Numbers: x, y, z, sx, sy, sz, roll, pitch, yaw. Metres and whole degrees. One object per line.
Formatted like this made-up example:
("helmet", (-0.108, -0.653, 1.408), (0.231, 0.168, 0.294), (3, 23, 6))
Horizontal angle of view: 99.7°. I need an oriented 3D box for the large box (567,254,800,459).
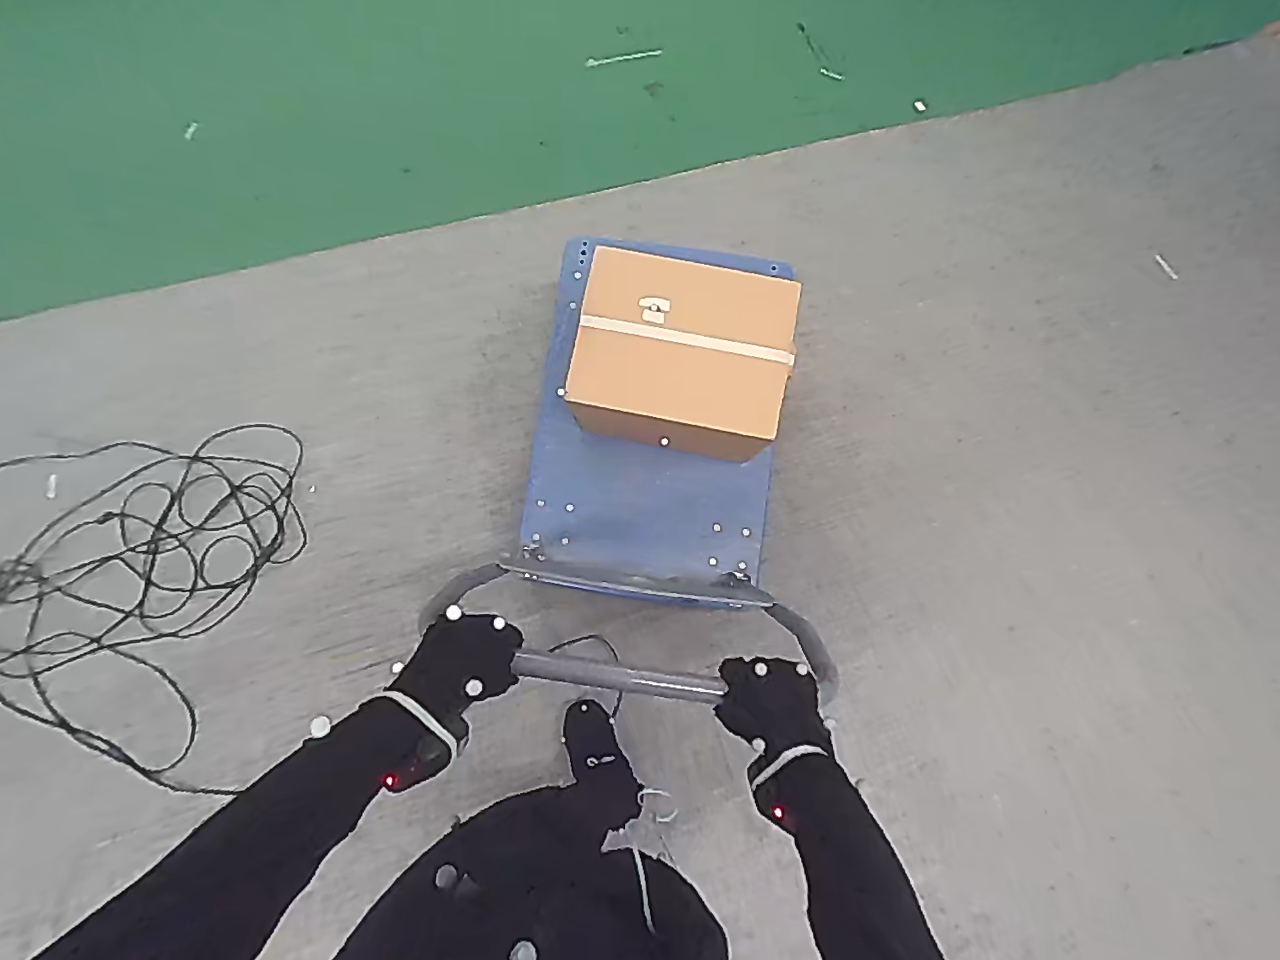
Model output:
("large box", (0.090, -0.241, 1.164), (0.408, 0.320, 0.320), (11, 84, 3))
